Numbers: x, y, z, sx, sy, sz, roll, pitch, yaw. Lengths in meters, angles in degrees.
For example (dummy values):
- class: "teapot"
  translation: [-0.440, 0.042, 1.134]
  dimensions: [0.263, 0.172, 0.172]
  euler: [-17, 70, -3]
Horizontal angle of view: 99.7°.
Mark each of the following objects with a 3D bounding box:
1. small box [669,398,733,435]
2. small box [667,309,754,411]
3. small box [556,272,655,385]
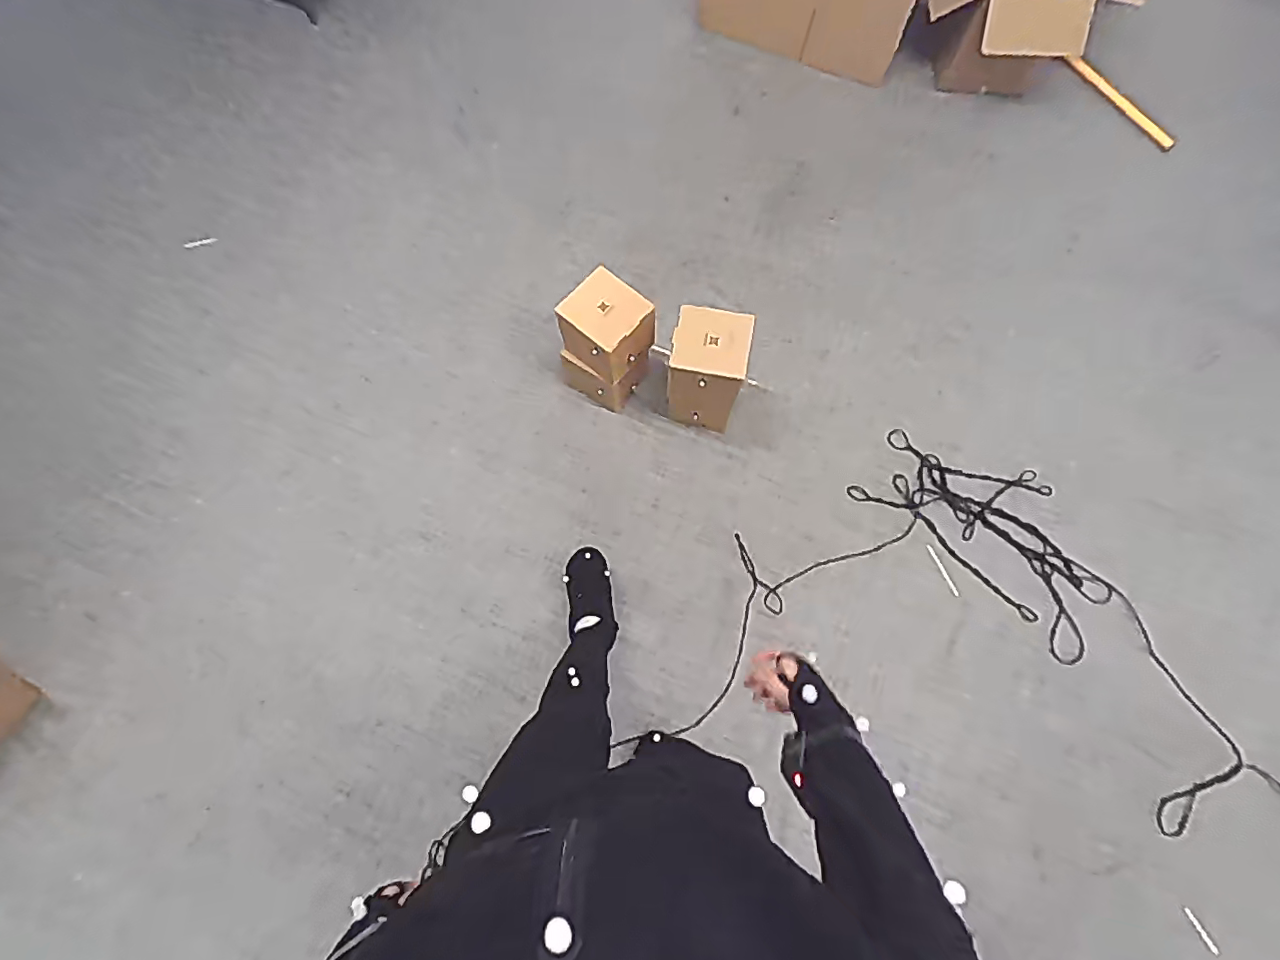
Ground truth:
- class: "small box"
  translation: [0.180, -0.242, 1.460]
  dimensions: [0.168, 0.176, 0.179]
  euler: [15, 73, 6]
- class: "small box"
  translation: [0.165, -0.283, 1.302]
  dimensions: [0.179, 0.176, 0.168]
  euler: [11, 74, 5]
- class: "small box"
  translation: [-0.081, -0.367, 1.336]
  dimensions: [0.179, 0.176, 0.168]
  euler: [39, 77, 11]
